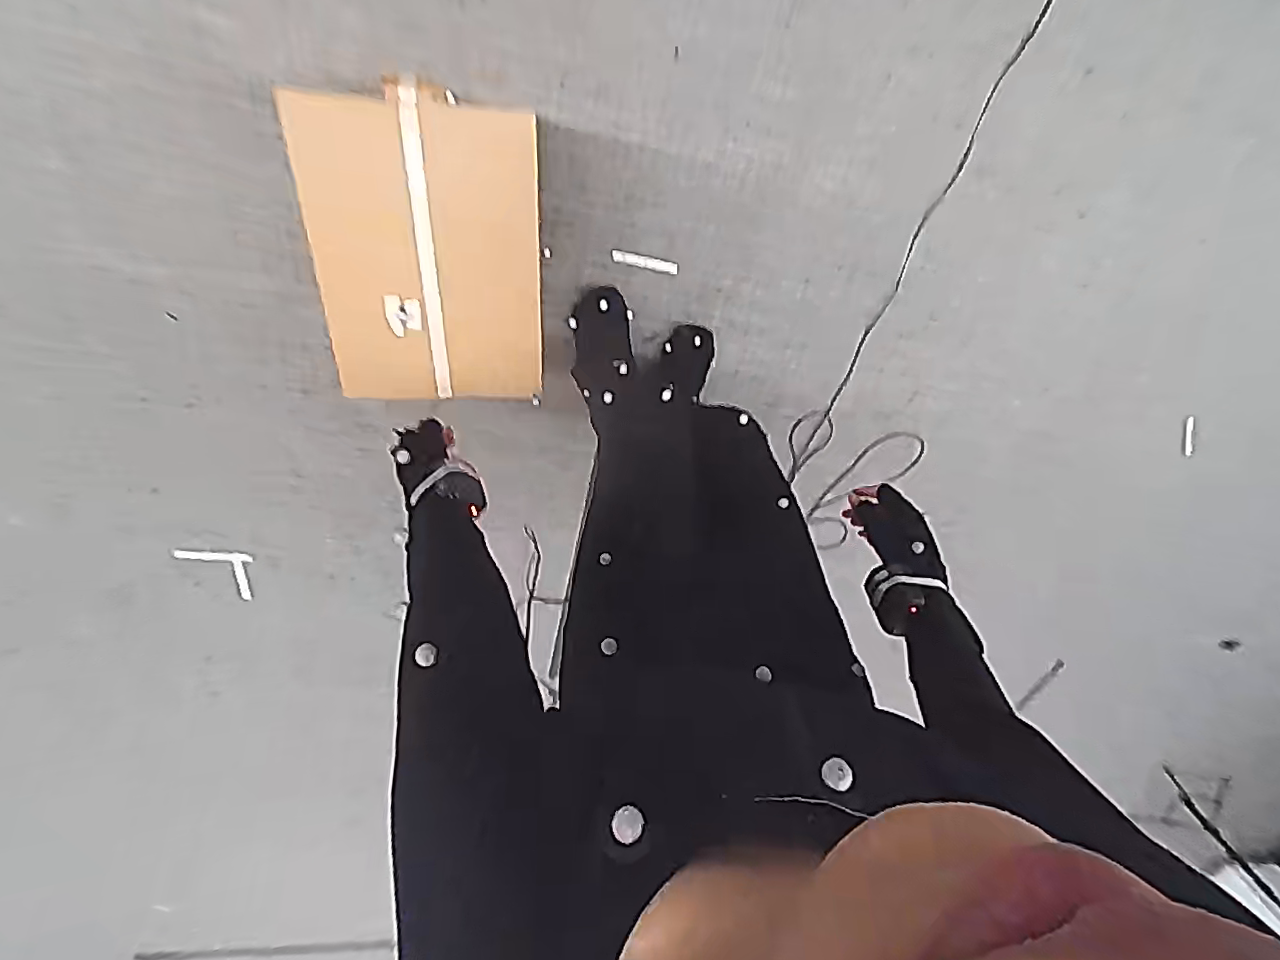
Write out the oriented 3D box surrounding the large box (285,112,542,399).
[{"bbox_3d":[-0.334,-0.387,0.935,0.320,0.320,0.408,-1,123,-8],"label":"large box"}]
